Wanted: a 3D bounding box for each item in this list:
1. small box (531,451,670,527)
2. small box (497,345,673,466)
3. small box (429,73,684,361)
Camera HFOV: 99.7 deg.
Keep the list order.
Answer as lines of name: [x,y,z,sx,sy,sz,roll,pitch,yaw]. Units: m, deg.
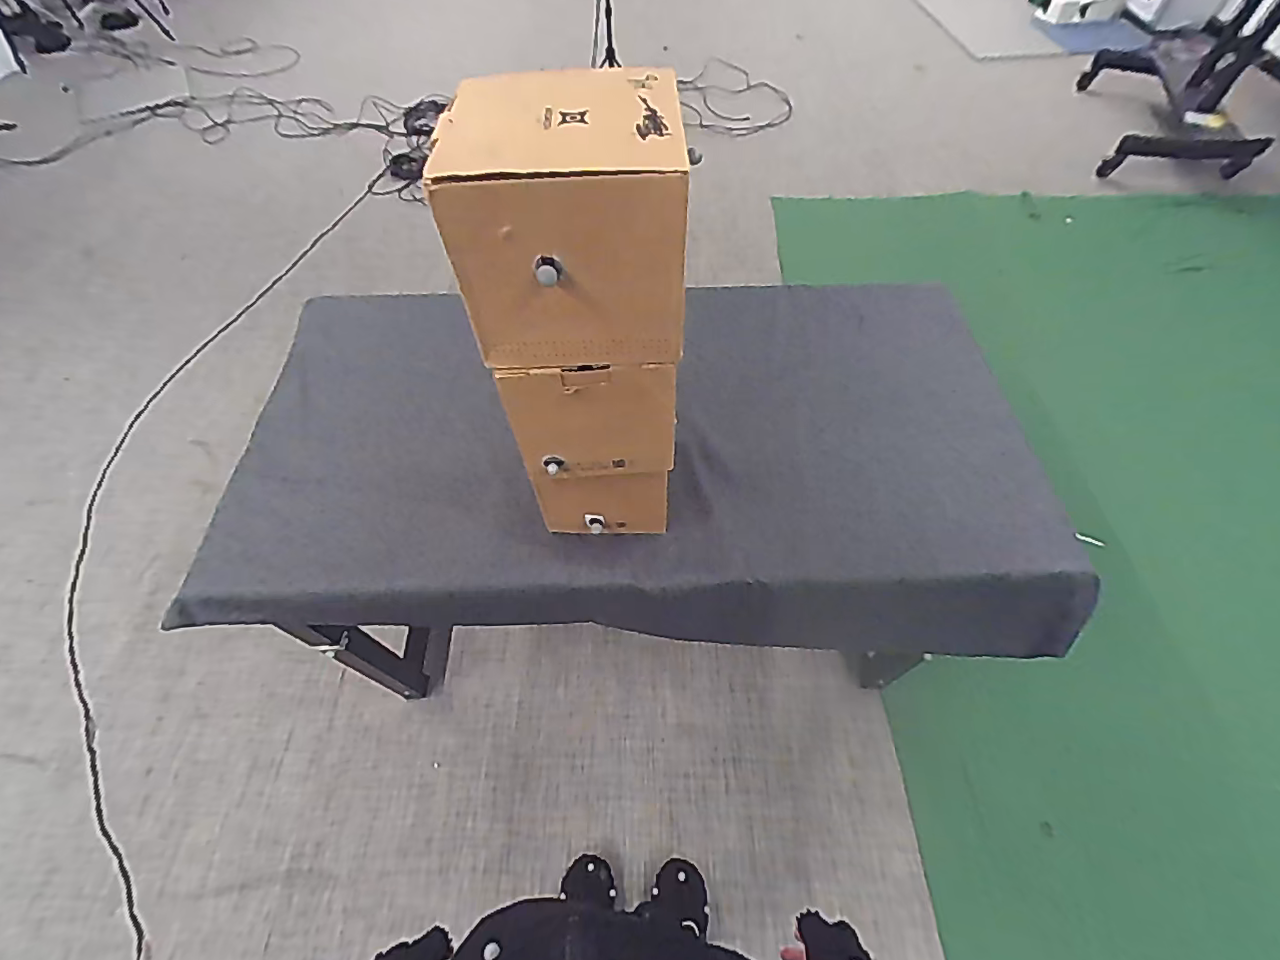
small box: [-0.045,-0.050,0.747,0.168,0.176,0.179,-2,58,2]
small box: [-0.055,-0.129,0.603,0.168,0.176,0.179,-7,57,-1]
small box: [-0.057,-0.220,0.470,0.179,0.176,0.168,-5,55,-1]
